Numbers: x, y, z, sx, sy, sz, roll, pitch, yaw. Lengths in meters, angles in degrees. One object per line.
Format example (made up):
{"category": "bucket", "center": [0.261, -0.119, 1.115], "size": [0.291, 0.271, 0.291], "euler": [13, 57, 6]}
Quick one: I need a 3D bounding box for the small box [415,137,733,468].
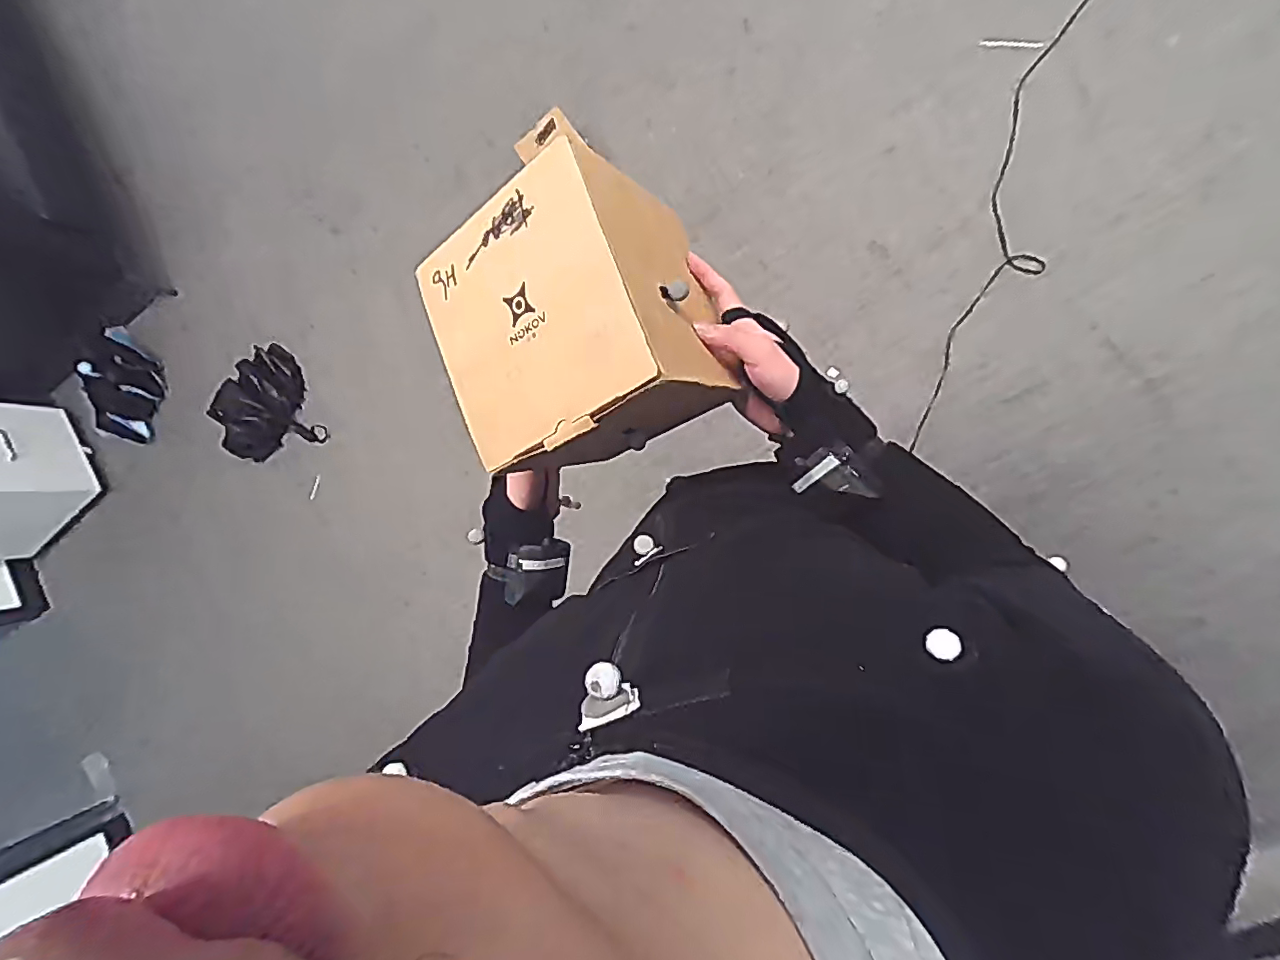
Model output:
{"category": "small box", "center": [-0.043, -0.126, 0.449], "size": [0.168, 0.176, 0.179], "euler": [-23, 85, 29]}

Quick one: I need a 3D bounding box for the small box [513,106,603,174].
{"category": "small box", "center": [-0.231, -0.921, 1.574], "size": [0.168, 0.176, 0.179], "euler": [-37, 82, 13]}
